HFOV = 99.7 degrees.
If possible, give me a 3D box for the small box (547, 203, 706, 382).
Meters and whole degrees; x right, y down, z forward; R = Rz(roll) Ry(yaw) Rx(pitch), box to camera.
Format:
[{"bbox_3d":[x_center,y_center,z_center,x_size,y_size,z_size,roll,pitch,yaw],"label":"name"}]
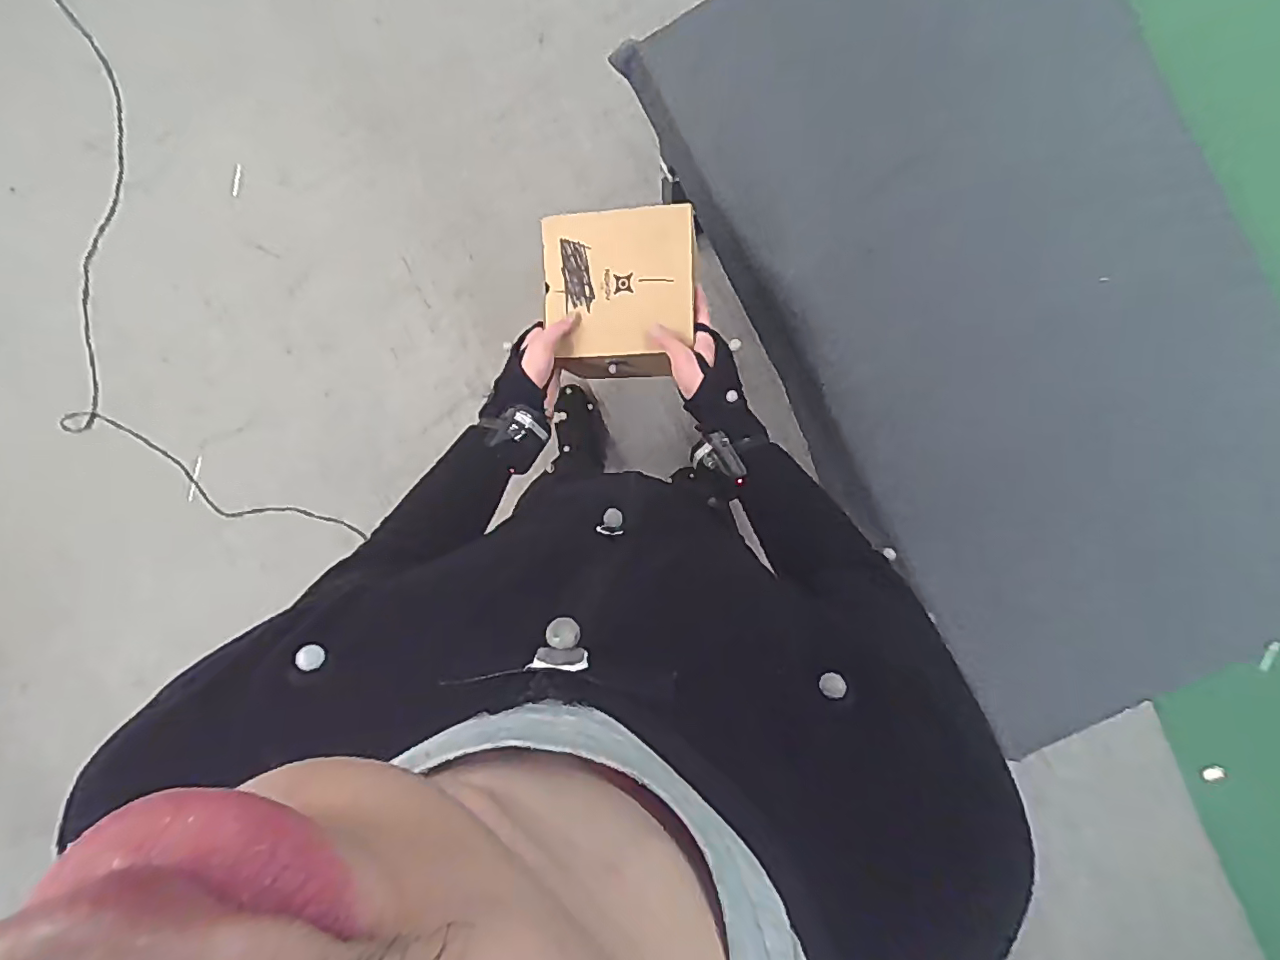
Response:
[{"bbox_3d":[-0.008,-0.217,0.672,0.179,0.176,0.168,-1,91,6],"label":"small box"}]
